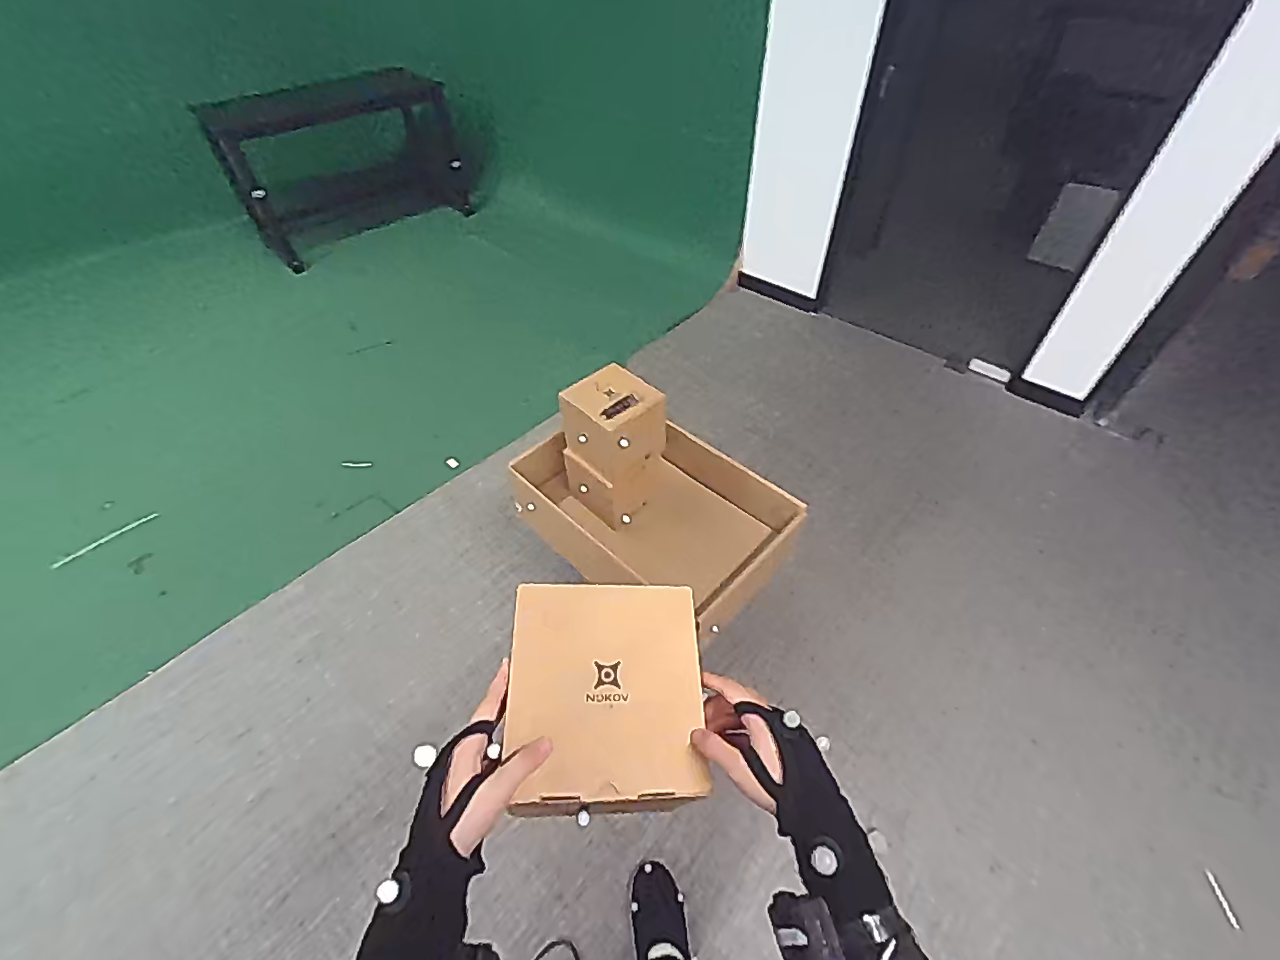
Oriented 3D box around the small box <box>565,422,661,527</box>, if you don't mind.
[{"bbox_3d":[-0.061,-0.007,1.356,0.168,0.176,0.179,-36,56,-27],"label":"small box"}]
